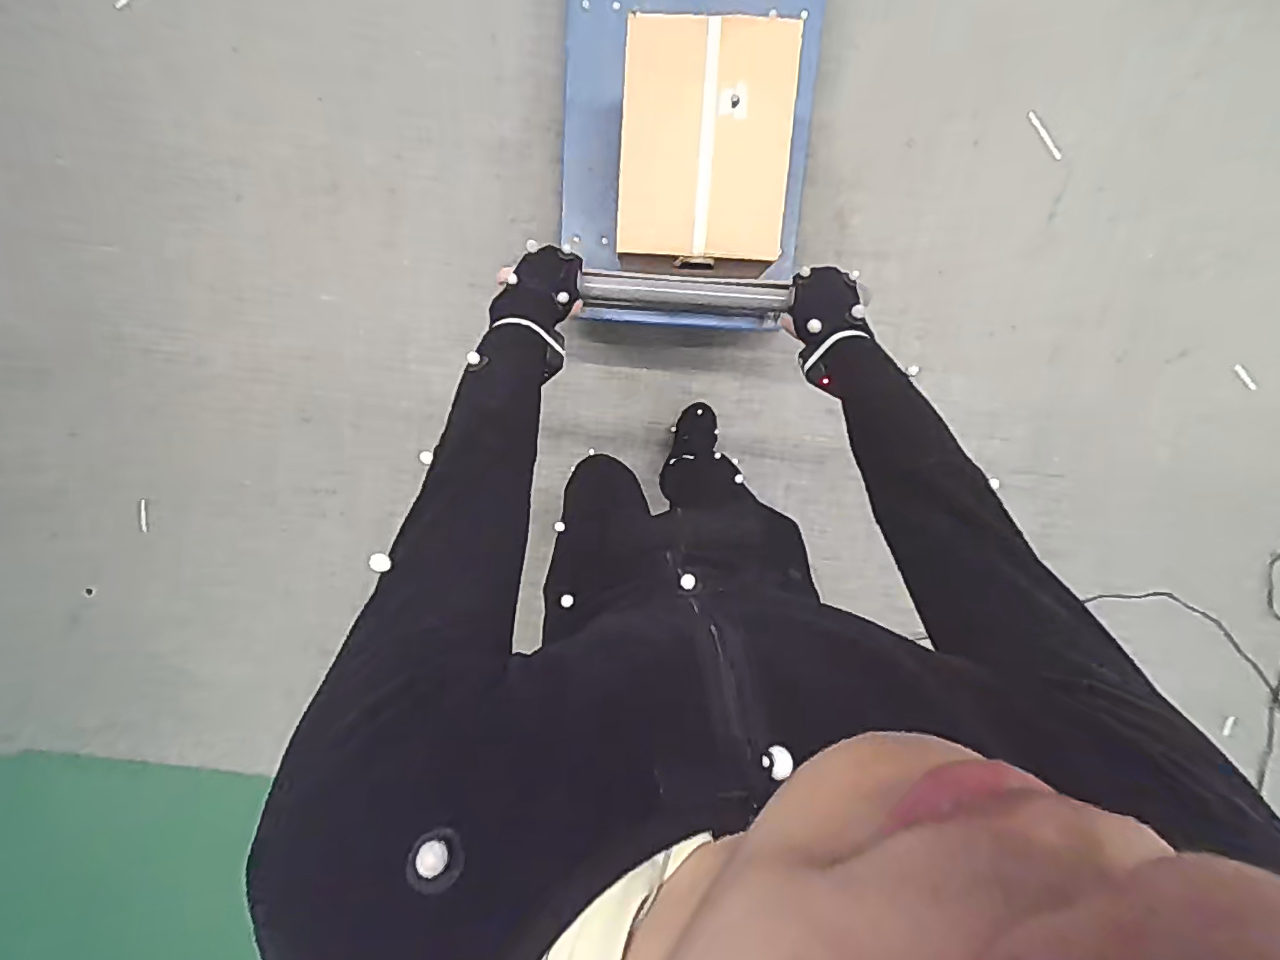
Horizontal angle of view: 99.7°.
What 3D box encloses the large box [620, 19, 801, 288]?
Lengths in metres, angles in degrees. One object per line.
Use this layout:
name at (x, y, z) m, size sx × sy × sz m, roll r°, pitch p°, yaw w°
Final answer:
large box at (0.130, -0.638, 1.134) m, size 0.320 × 0.320 × 0.408 m, roll 3°, pitch 100°, yaw 1°
